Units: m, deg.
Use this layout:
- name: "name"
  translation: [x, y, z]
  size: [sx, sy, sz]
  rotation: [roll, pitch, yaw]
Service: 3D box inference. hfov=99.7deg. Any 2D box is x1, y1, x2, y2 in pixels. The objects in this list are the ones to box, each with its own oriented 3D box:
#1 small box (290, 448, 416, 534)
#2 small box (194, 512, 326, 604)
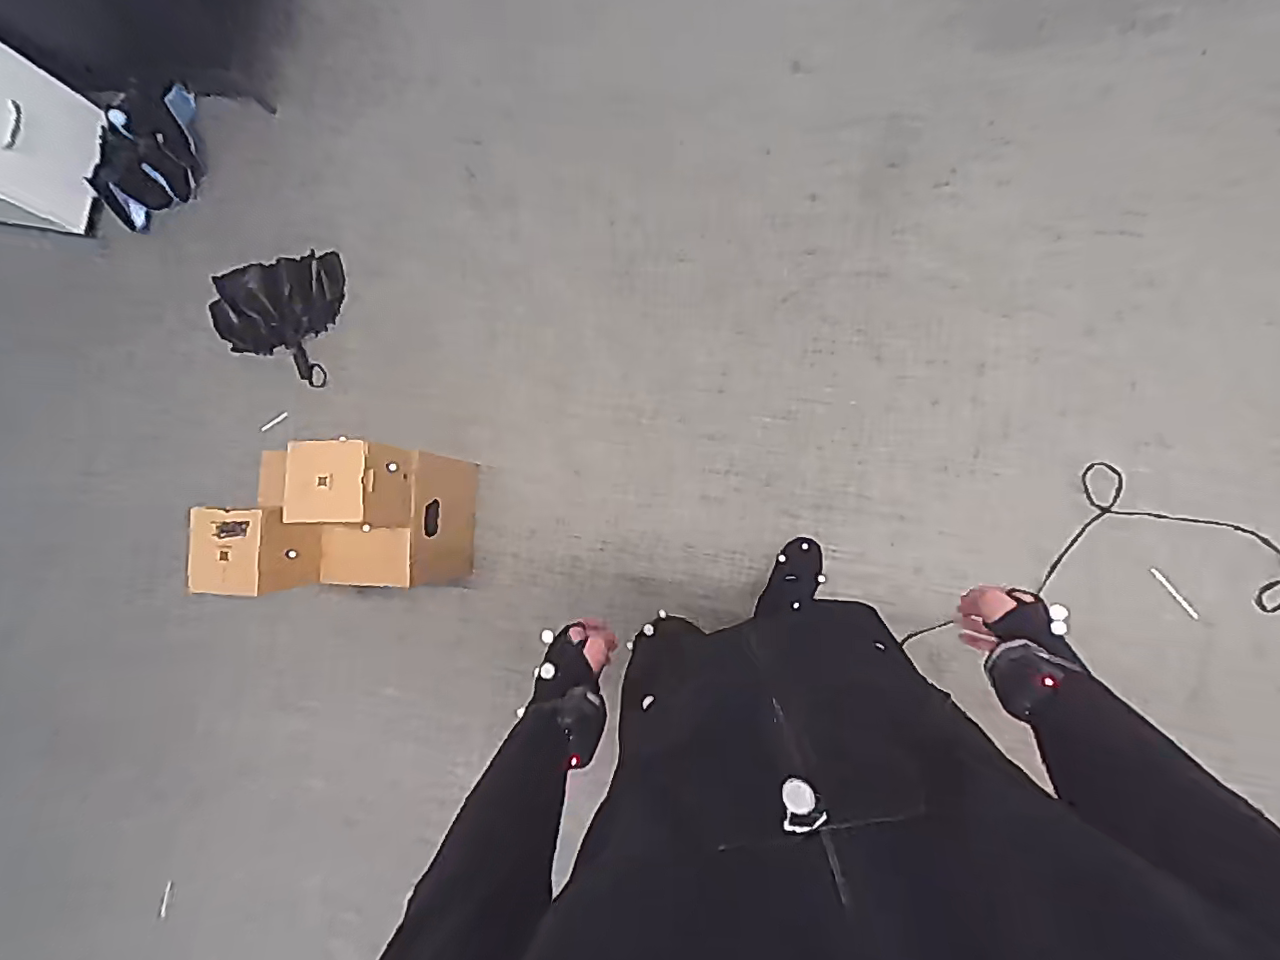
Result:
- name: "small box"
  translation: [-0.603, 0.028, 1.156]
  size: [0.179, 0.176, 0.168]
  rotation: [-2, 82, 10]
- name: "small box"
  translation: [-0.815, 0.162, 1.177]
  size: [0.168, 0.176, 0.179]
  rotation: [2, 89, 9]
